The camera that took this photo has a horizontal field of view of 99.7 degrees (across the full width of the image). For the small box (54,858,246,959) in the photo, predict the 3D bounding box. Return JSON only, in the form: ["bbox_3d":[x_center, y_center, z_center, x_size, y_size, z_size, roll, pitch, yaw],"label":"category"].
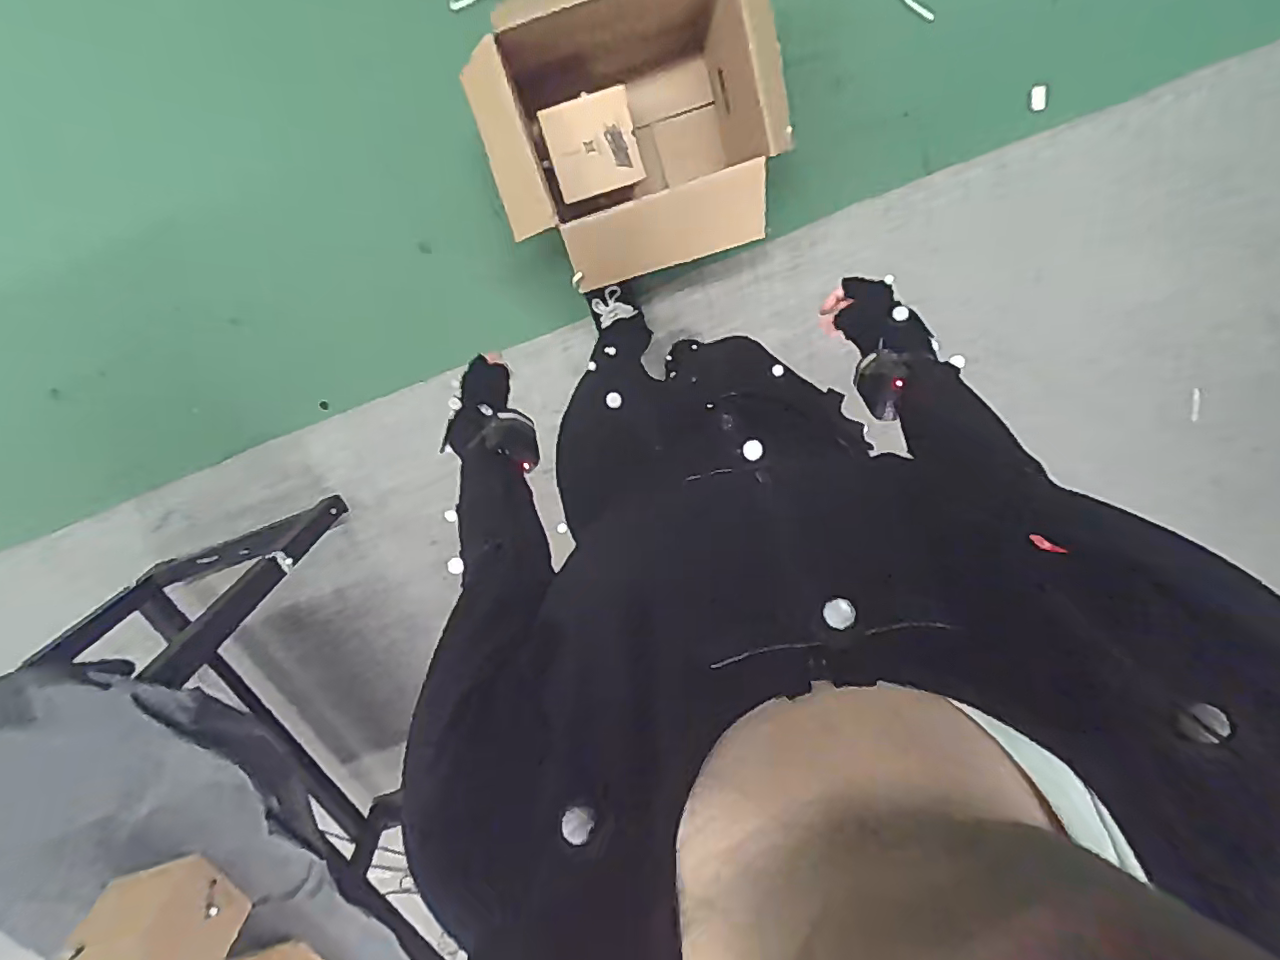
[{"bbox_3d":[-0.833,0.790,0.918,0.179,0.176,0.168,-19,115,3],"label":"small box"}]

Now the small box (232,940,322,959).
[{"bbox_3d":[-0.733,1.043,1.042,0.179,0.176,0.168,-20,114,3],"label":"small box"}]
